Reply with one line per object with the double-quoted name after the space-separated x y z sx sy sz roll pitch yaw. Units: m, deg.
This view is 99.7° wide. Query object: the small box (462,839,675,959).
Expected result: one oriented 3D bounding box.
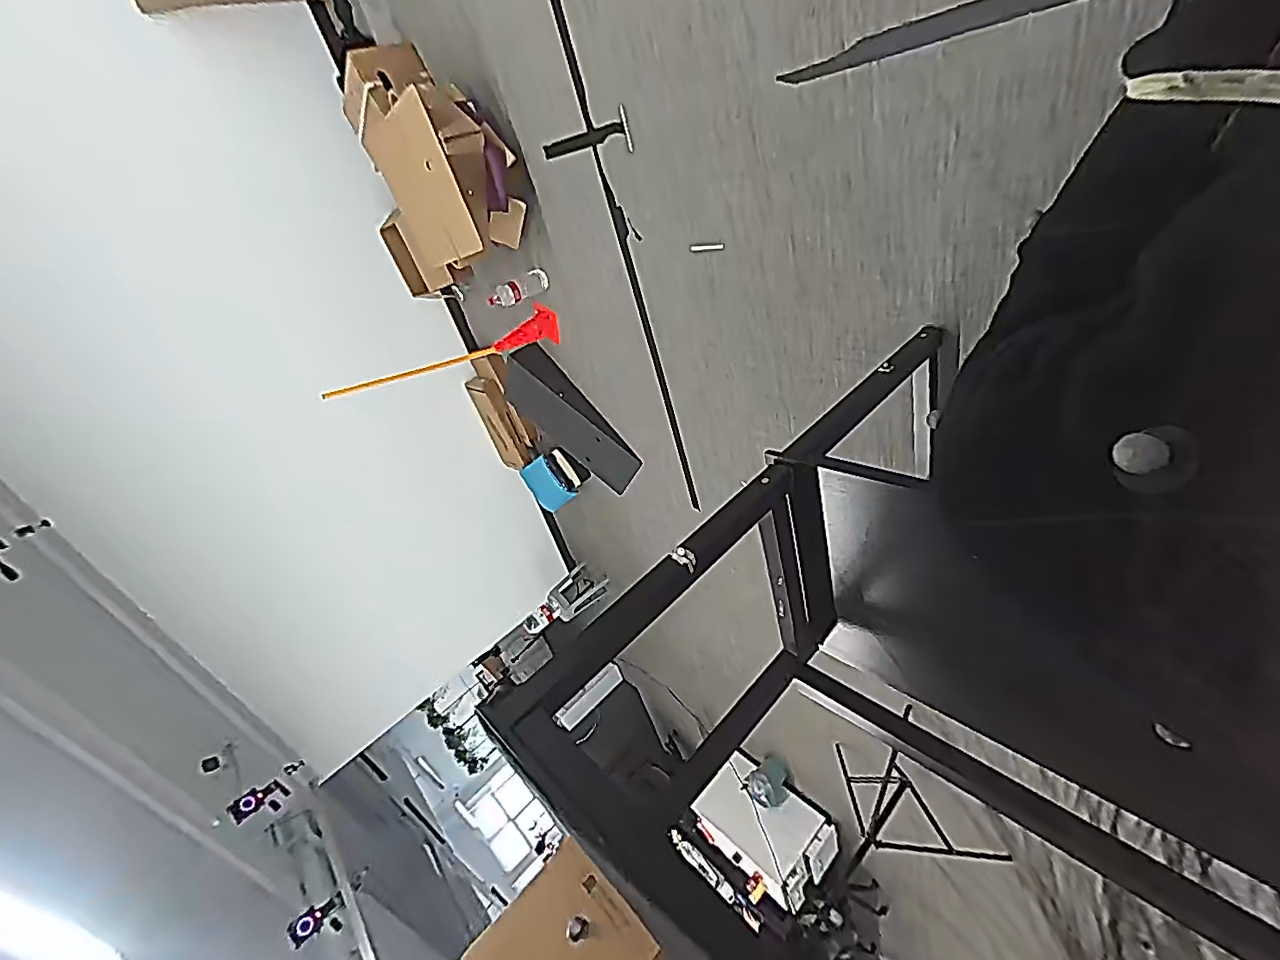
-0.064 0.569 0.620 0.168 0.176 0.179 21 139 44 "small box"
